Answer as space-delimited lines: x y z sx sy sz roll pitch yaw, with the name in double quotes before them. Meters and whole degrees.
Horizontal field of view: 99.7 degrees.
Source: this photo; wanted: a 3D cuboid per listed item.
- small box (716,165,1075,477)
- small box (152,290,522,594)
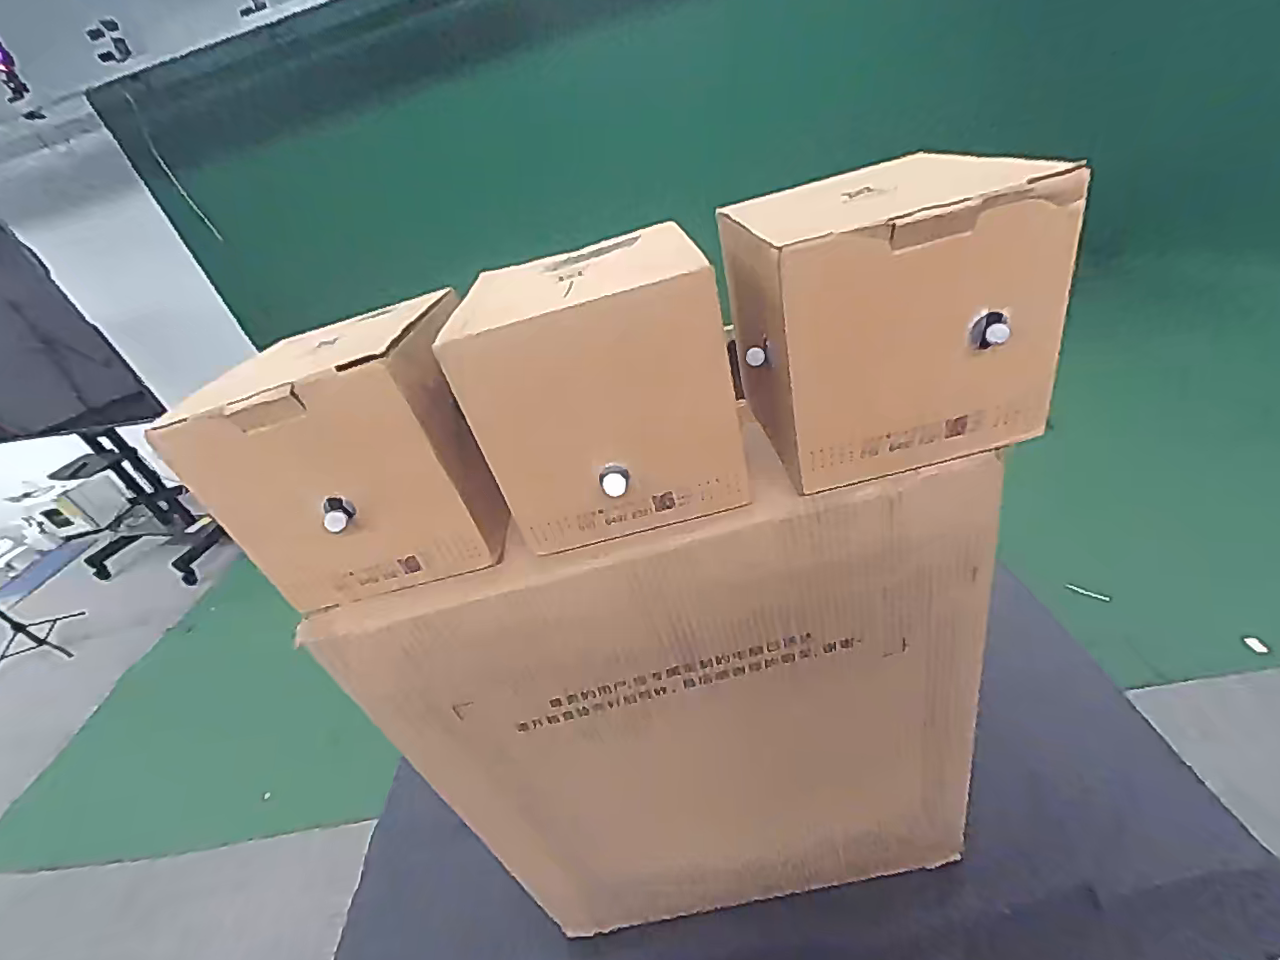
"small box" 0.163 -0.116 0.401 0.168 0.176 0.179 -13 32 2
"small box" -0.208 -0.028 0.438 0.168 0.176 0.179 -15 33 5
